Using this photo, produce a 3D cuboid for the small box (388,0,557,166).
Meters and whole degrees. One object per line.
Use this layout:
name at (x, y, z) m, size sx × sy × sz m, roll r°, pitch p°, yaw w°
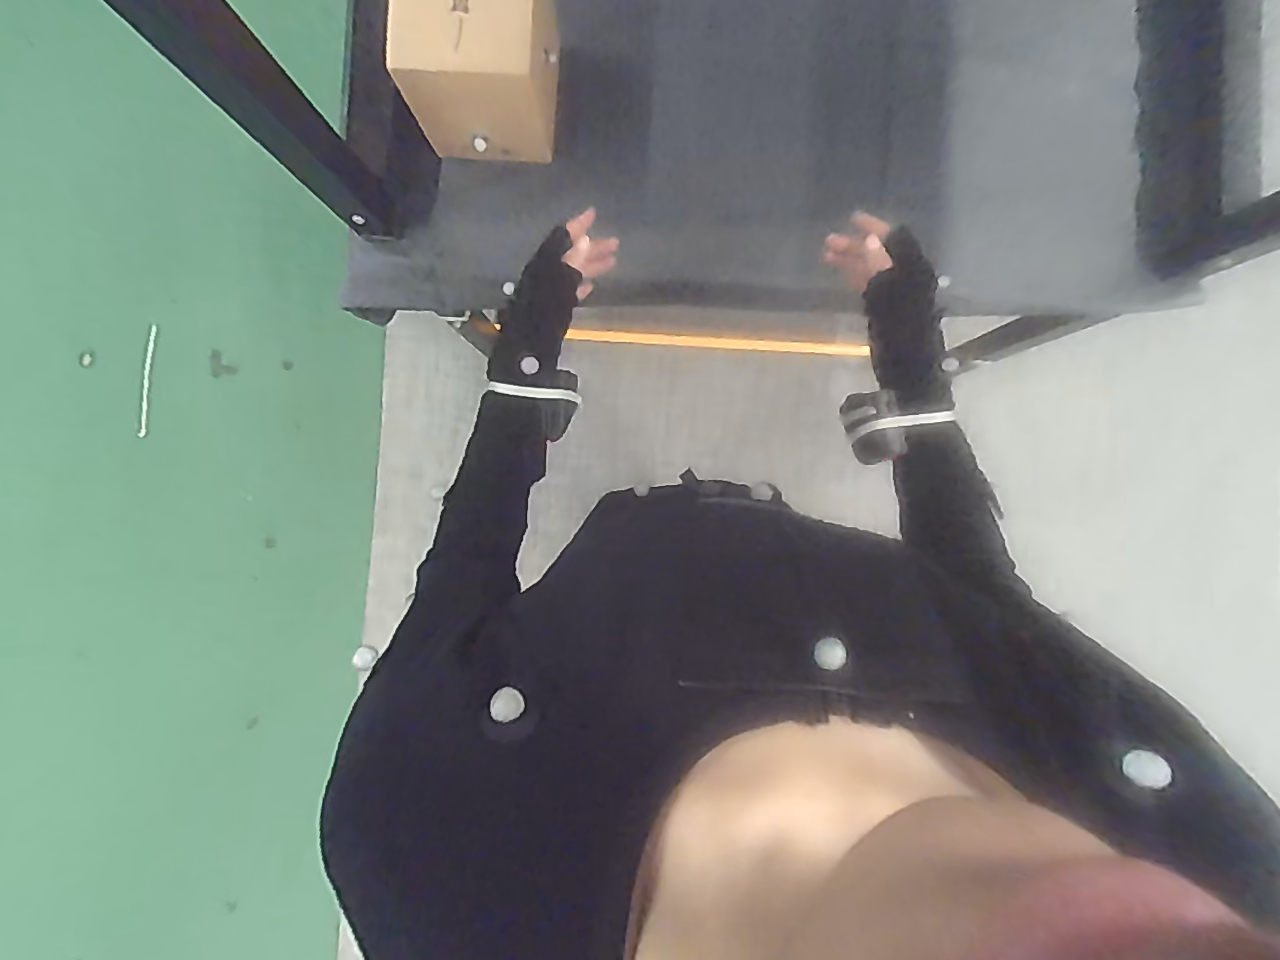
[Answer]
small box at (-0.204, -0.549, 0.702) m, size 0.168 × 0.176 × 0.179 m, roll 3°, pitch 88°, yaw 0°
